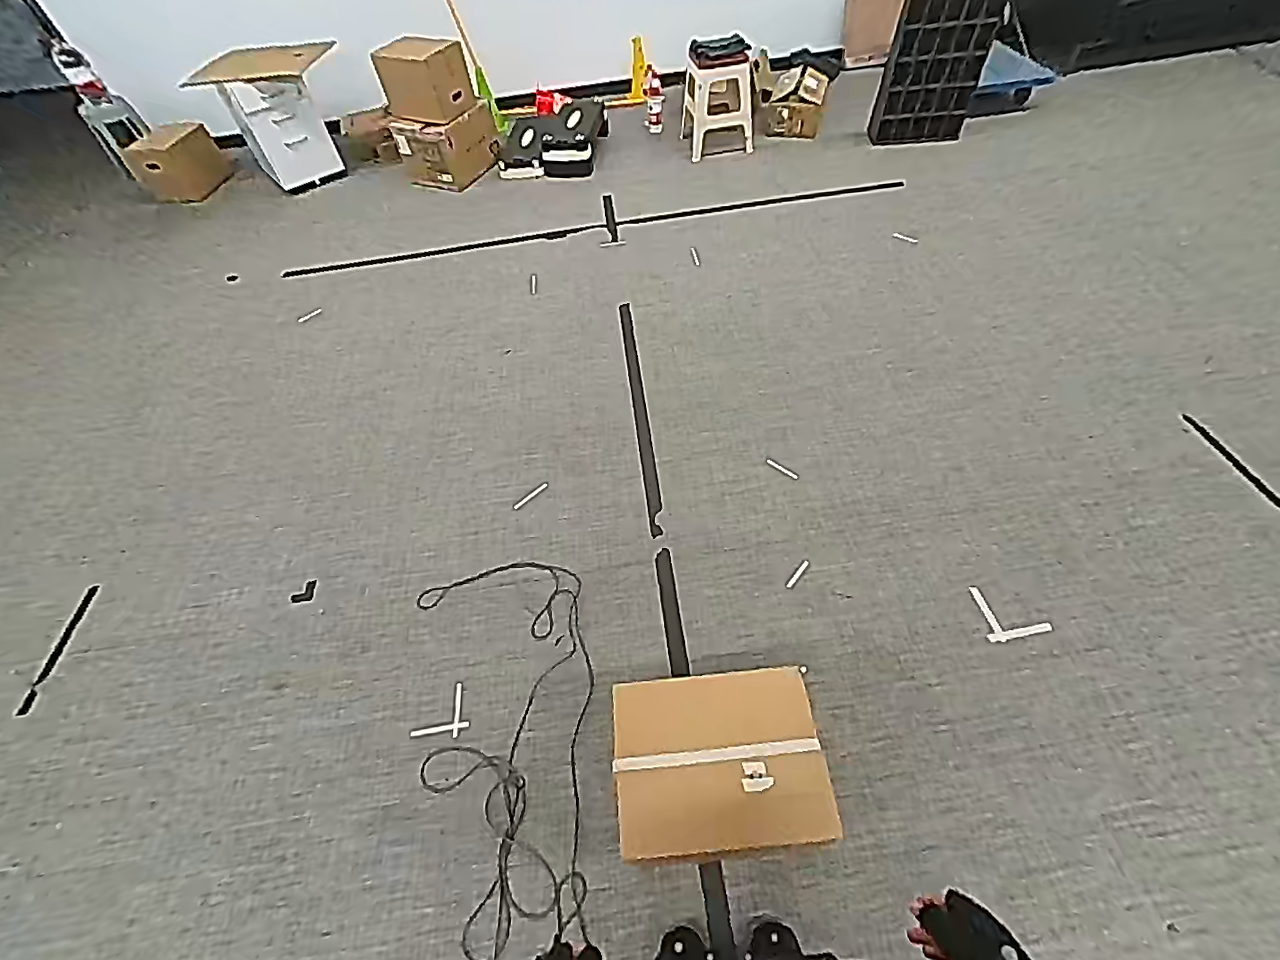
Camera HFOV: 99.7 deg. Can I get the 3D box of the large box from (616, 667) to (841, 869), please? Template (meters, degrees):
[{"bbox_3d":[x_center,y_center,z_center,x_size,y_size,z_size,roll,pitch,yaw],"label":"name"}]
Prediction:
[{"bbox_3d":[0.167,0.638,1.189,0.408,0.320,0.320,-6,52,0],"label":"large box"}]
